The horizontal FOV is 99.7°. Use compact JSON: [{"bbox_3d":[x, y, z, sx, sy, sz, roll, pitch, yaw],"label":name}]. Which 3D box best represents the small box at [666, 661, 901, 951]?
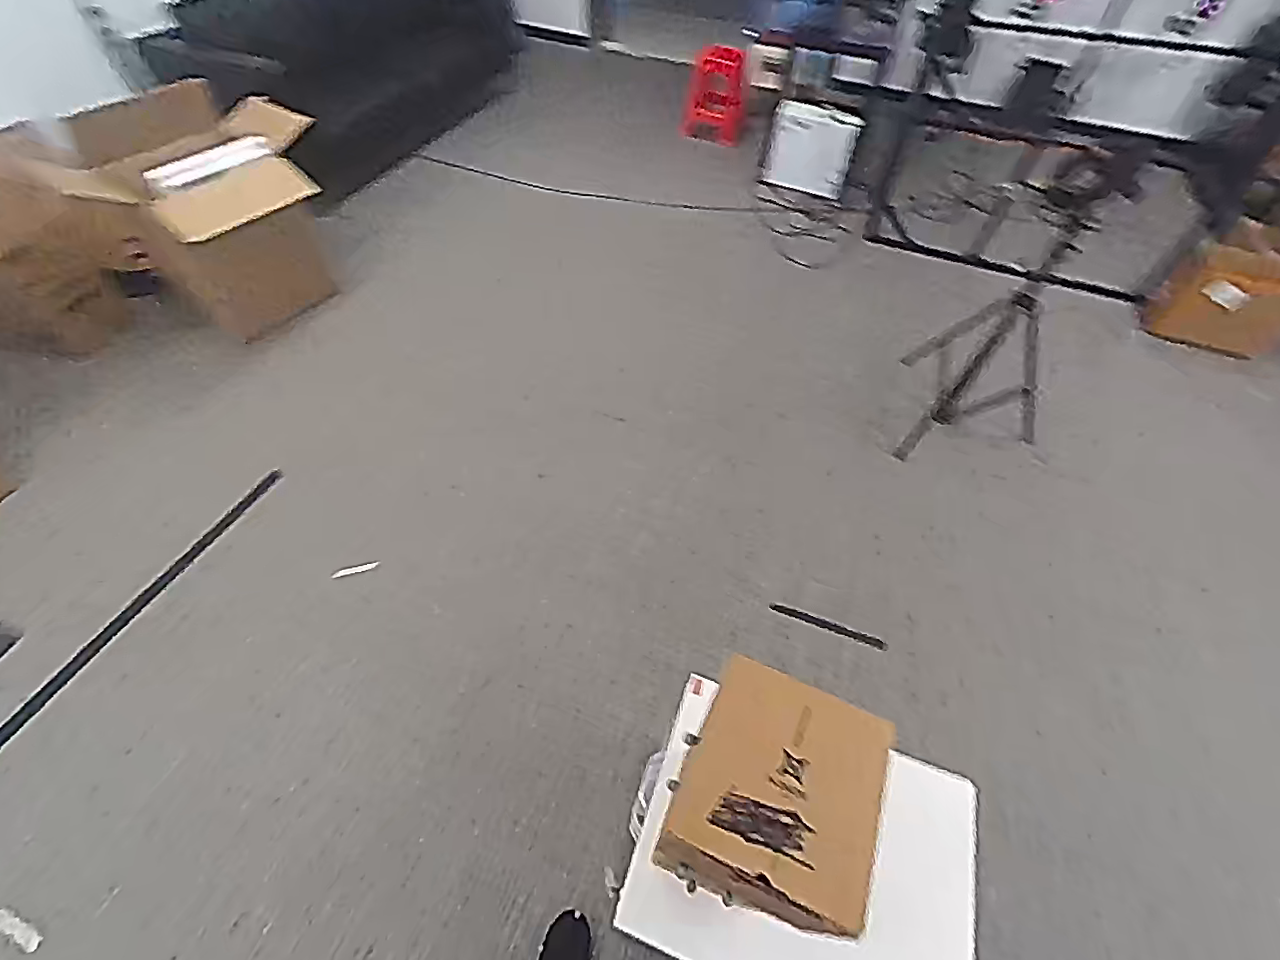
[{"bbox_3d":[0.133,0.321,0.542,0.168,0.176,0.179,22,54,14],"label":"small box"}]

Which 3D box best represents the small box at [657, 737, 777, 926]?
[{"bbox_3d":[0.130,0.520,0.805,0.168,0.176,0.179,20,54,11],"label":"small box"}]
